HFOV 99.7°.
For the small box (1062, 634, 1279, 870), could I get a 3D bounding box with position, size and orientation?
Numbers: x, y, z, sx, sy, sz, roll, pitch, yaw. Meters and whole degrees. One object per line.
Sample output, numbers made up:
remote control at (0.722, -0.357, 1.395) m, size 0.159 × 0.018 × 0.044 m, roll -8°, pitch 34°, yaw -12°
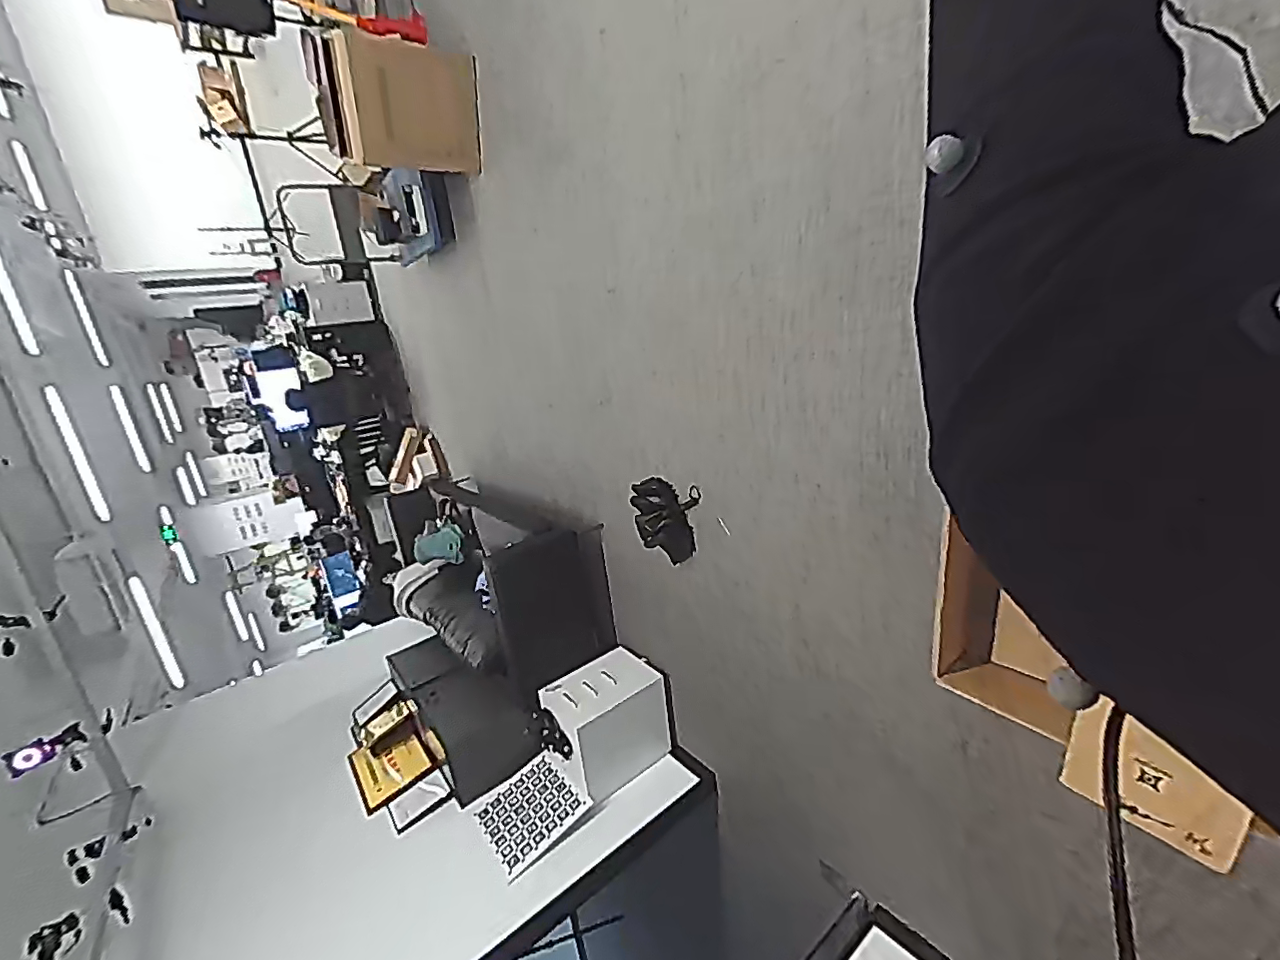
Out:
small box at (0.688, 0.330, 0.696) m, size 0.168 × 0.176 × 0.179 m, roll 23°, pitch 123°, yaw 52°
